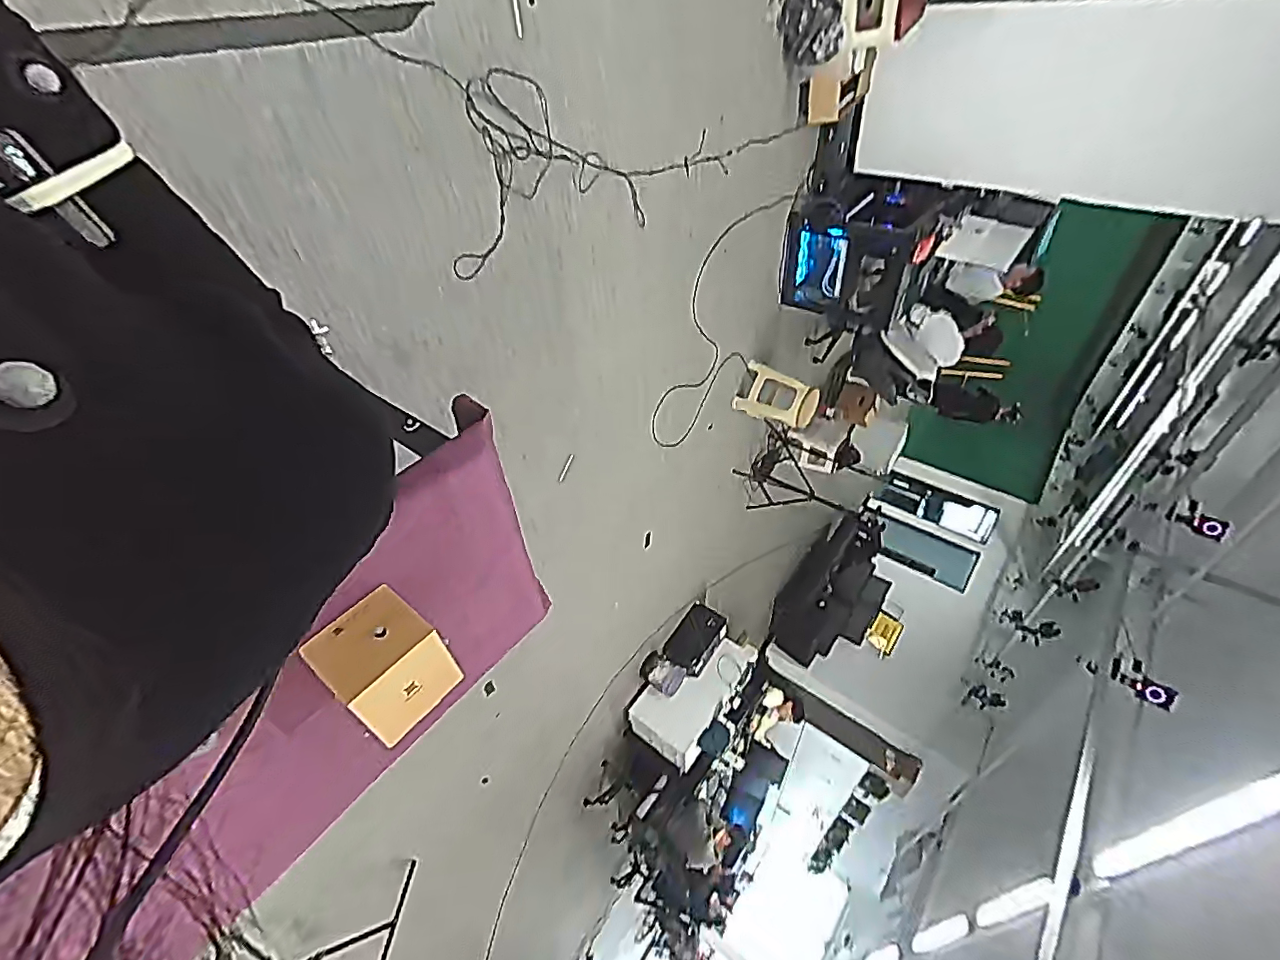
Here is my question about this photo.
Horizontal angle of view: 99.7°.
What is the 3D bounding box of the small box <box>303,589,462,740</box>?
[{"bbox_3d":[-0.461,0.322,0.976,0.168,0.176,0.179,-43,146,-32],"label":"small box"}]
